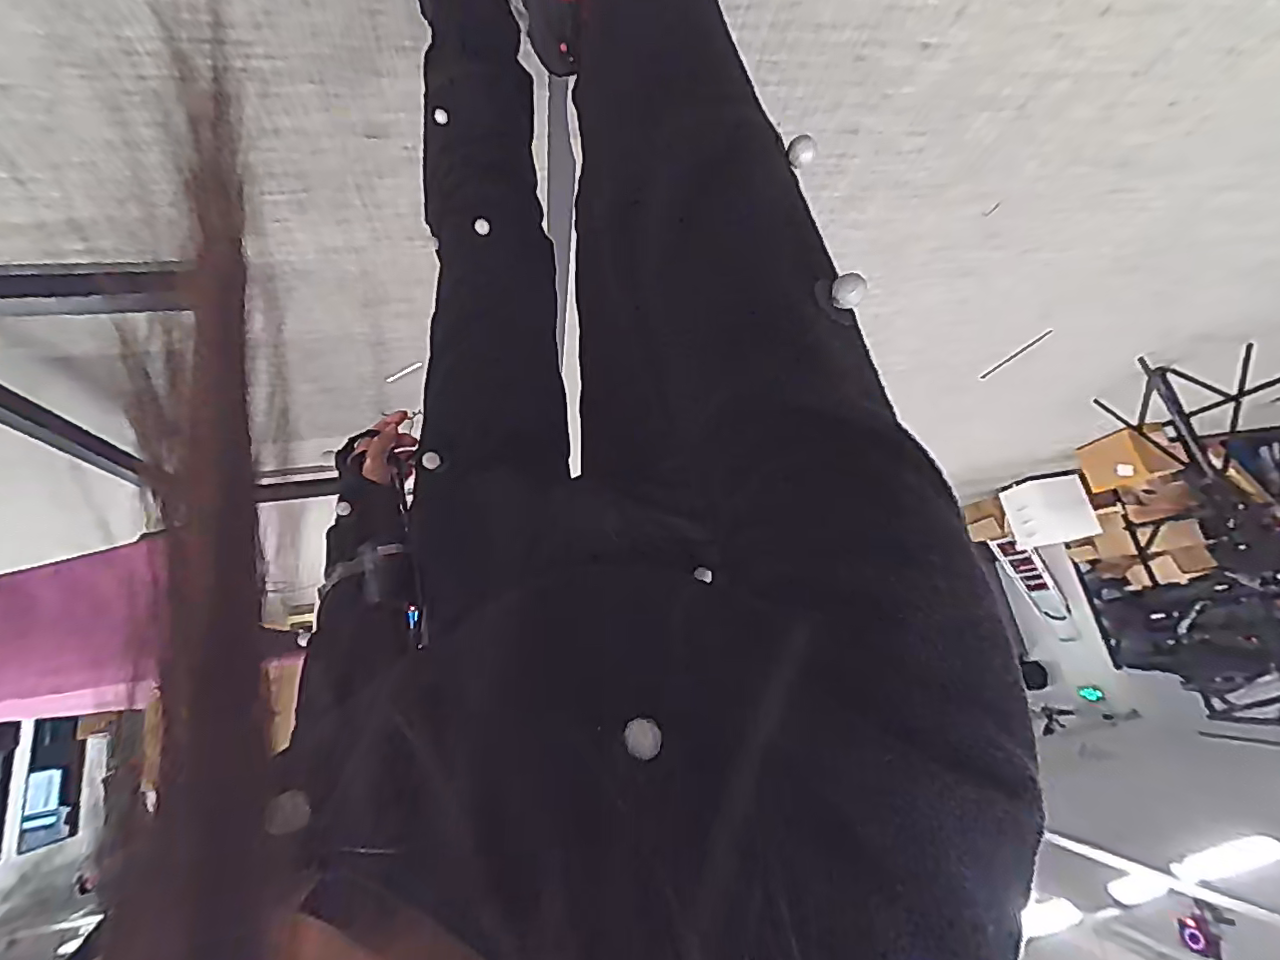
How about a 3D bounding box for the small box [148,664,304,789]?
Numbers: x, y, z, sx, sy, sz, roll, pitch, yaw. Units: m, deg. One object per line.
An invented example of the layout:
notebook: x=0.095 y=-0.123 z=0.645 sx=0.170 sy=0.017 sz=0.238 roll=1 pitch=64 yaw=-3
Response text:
small box: x=-0.746 y=0.436 z=0.990 sx=0.179 sy=0.176 sz=0.168 roll=-7 pitch=163 yaw=-11
